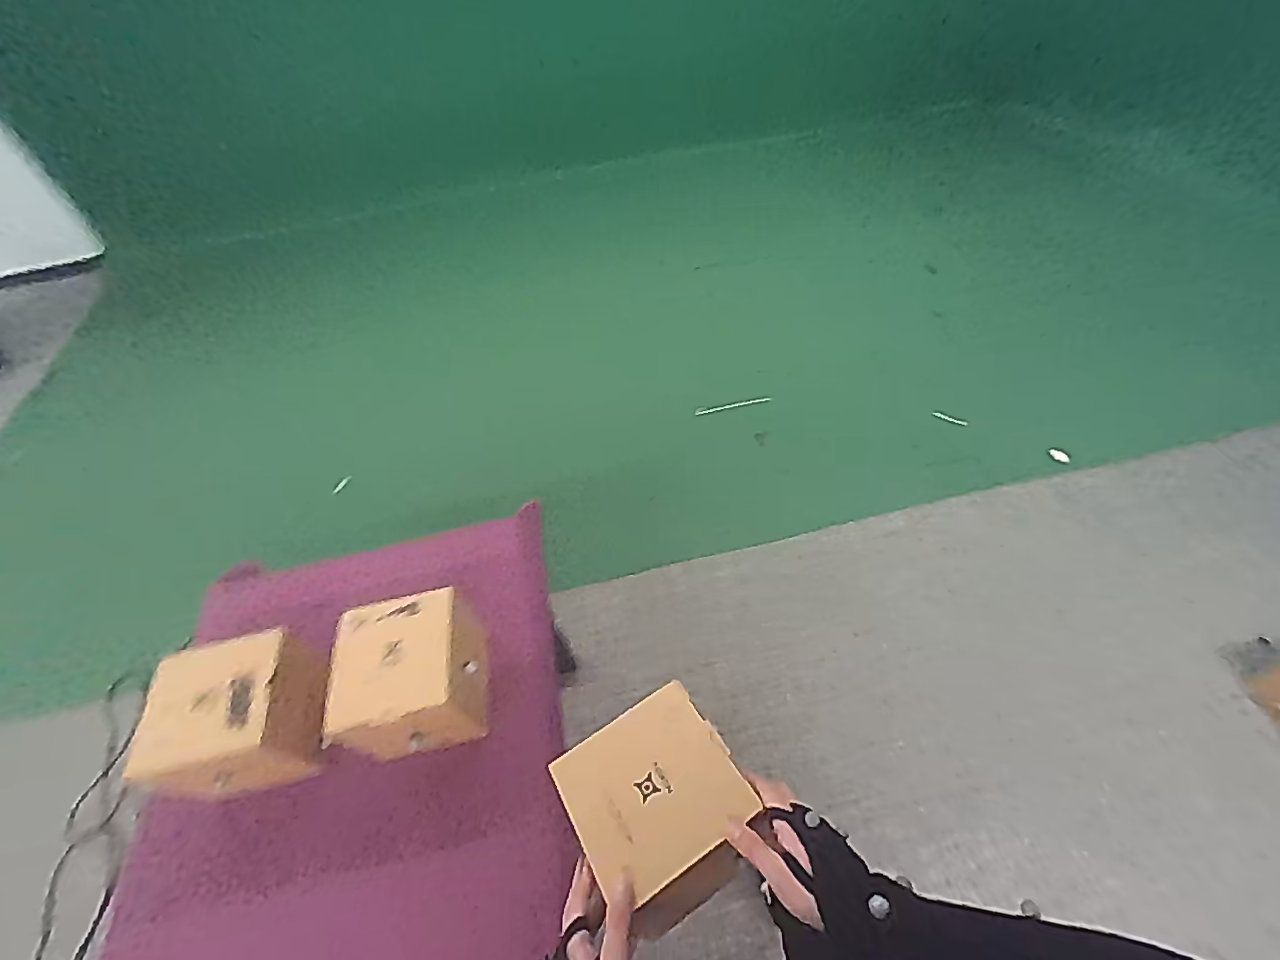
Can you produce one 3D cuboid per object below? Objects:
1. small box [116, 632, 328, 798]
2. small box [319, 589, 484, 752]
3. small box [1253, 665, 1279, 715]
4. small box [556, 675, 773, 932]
[{"bbox_3d":[-0.584,0.348,0.795,0.179,0.176,0.168,-14,52,-3],"label":"small box"},{"bbox_3d":[-0.339,0.291,0.807,0.168,0.176,0.179,-13,53,-2],"label":"small box"},{"bbox_3d":[1.674,0.513,1.298,0.179,0.176,0.168,-11,51,-2],"label":"small box"},{"bbox_3d":[0.032,0.363,0.611,0.179,0.176,0.168,-28,44,-11],"label":"small box"}]
